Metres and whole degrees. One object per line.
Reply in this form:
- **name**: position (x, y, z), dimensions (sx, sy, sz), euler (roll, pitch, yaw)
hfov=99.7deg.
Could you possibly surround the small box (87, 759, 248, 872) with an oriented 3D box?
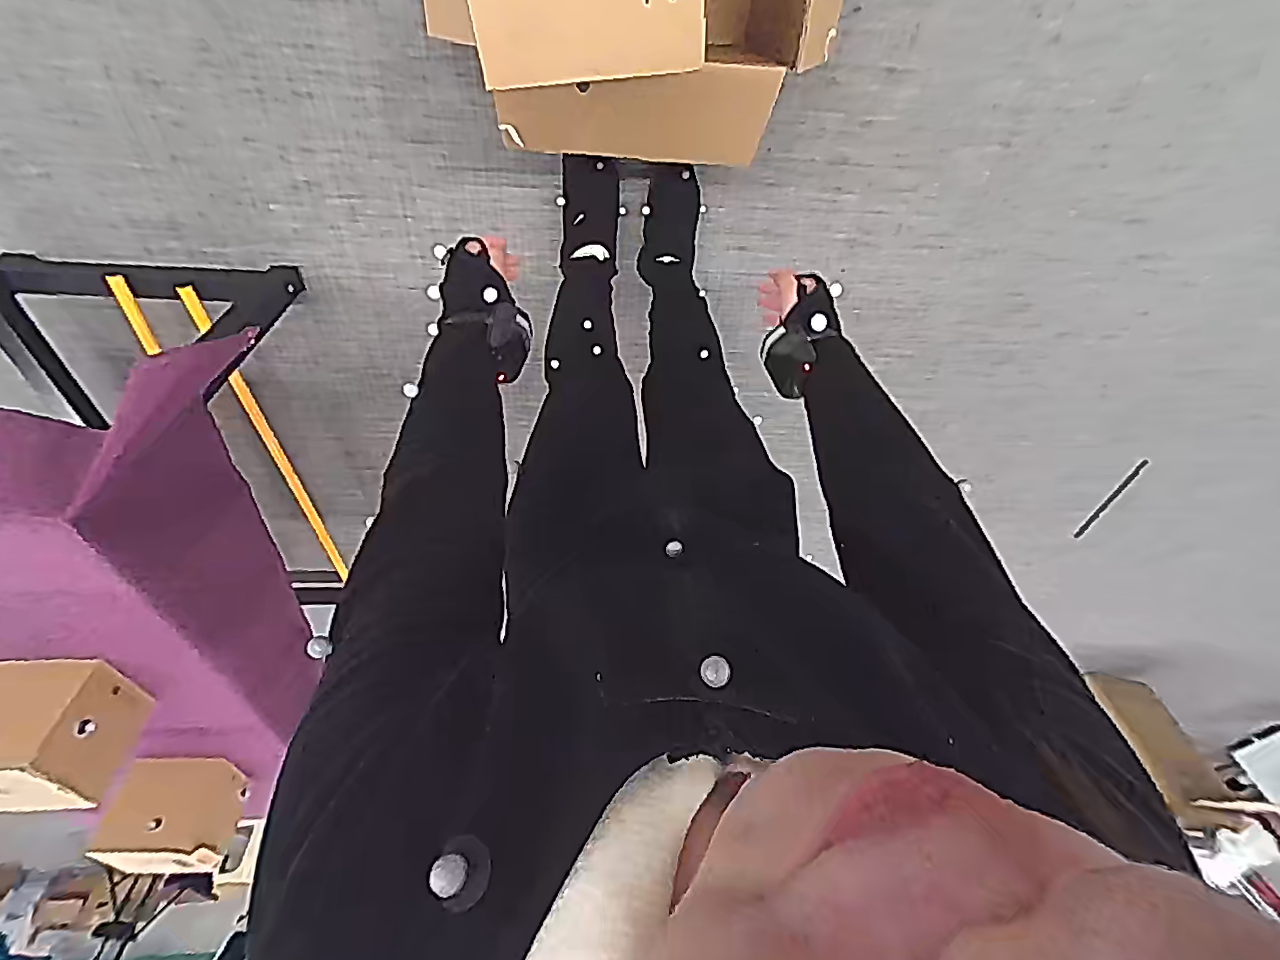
- **small box**: position (-0.960, 0.696, 1.127), dimensions (0.179, 0.176, 0.168), euler (3, 133, -7)

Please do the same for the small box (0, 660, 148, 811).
- **small box**: position (-0.923, 0.391, 0.835), dimensions (0.179, 0.176, 0.168), euler (1, 134, -5)

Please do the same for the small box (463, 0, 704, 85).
- **small box**: position (-0.049, -0.427, 0.417), dimensions (0.179, 0.176, 0.168), euler (-7, 139, -3)
